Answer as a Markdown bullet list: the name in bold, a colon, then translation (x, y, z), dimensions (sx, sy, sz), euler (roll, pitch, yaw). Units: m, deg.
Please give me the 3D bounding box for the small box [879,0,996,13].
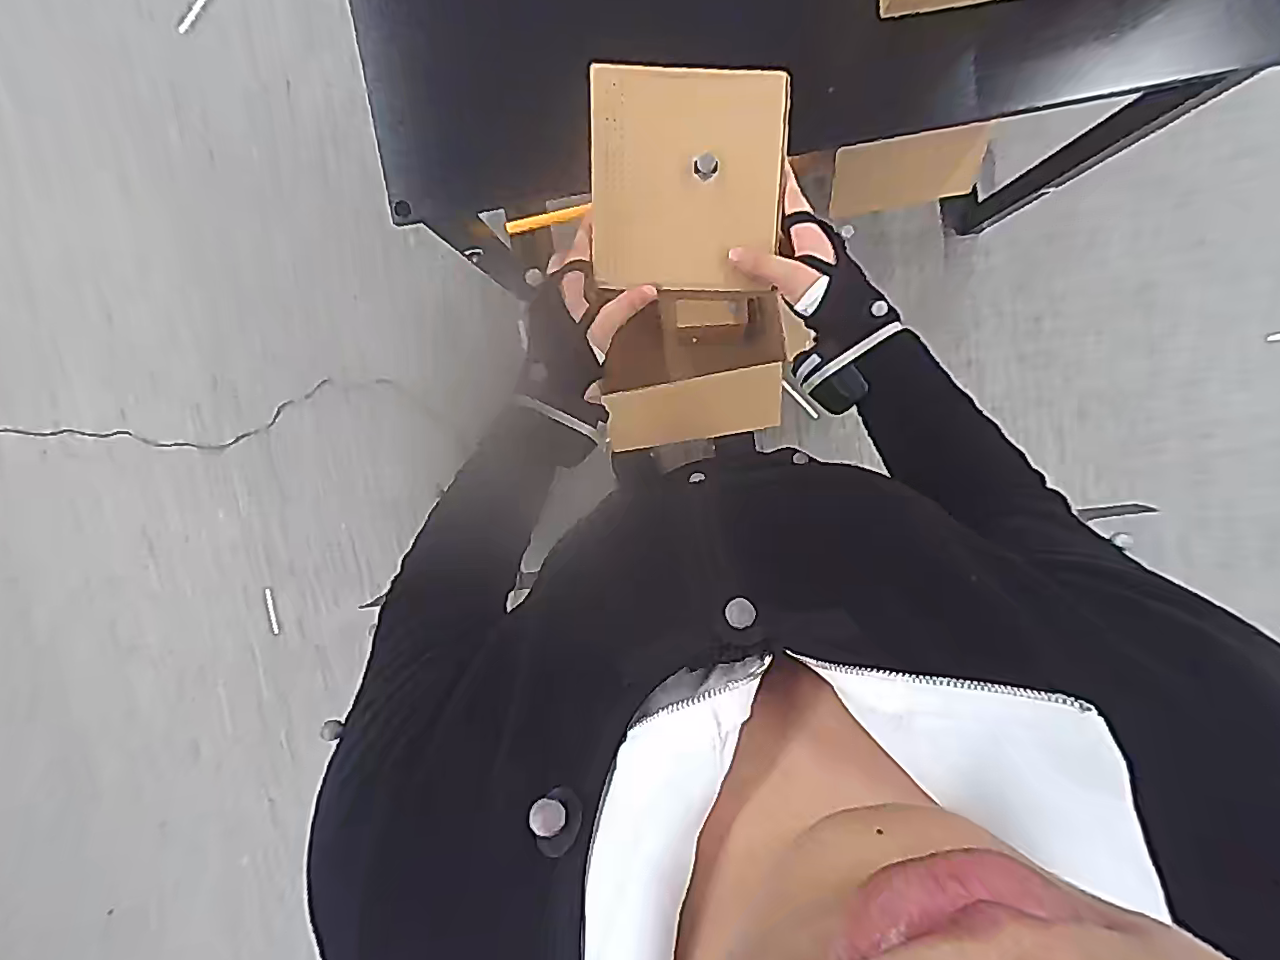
- **small box**: translation (0.372, -0.658, 0.587), dimensions (0.179, 0.176, 0.168), euler (-7, 97, 2)
